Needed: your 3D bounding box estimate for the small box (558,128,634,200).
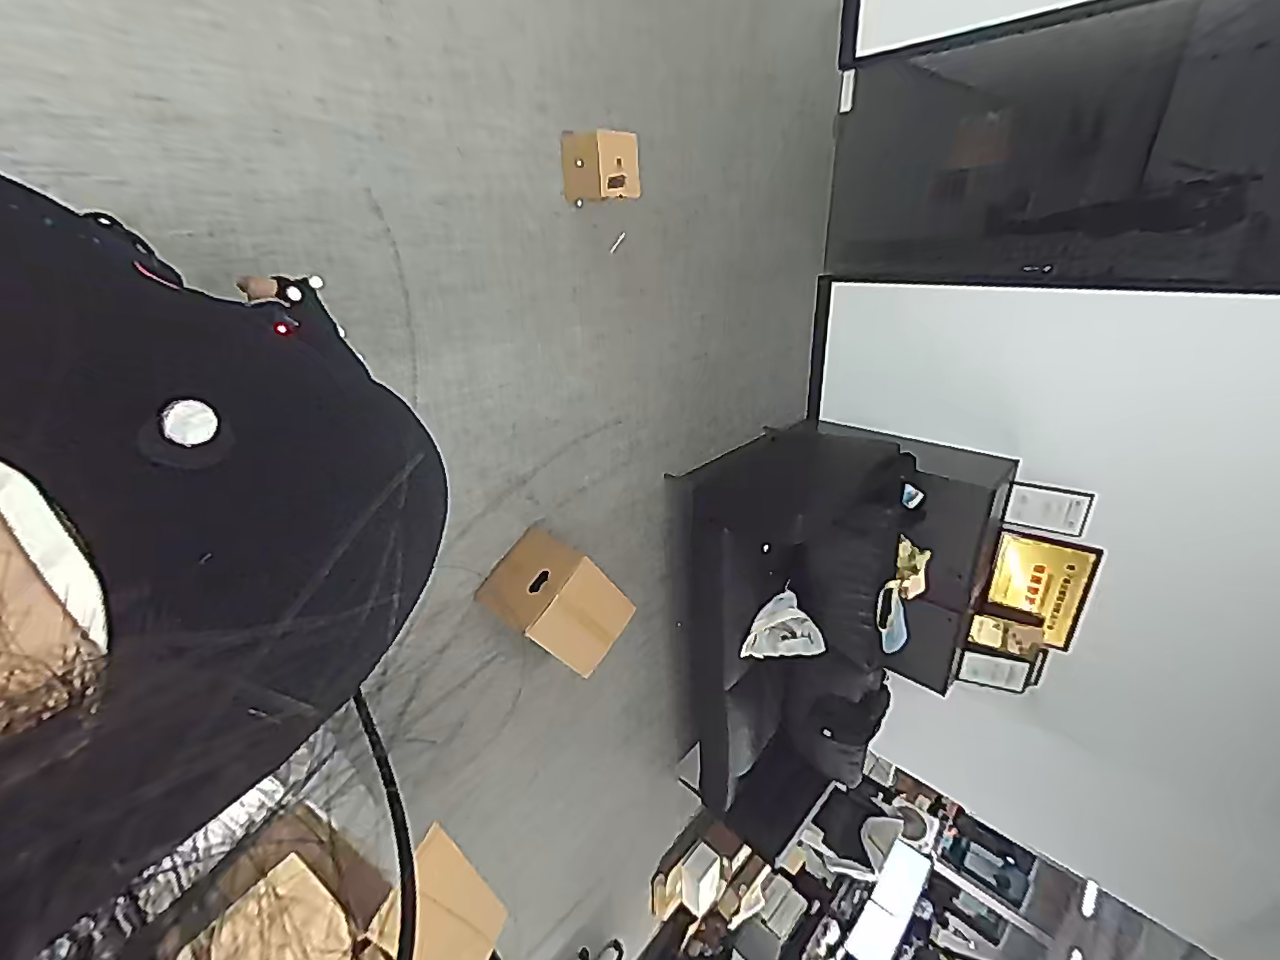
[{"bbox_3d":[-0.136,-0.969,1.674,0.168,0.176,0.179,-24,122,-40],"label":"small box"}]
